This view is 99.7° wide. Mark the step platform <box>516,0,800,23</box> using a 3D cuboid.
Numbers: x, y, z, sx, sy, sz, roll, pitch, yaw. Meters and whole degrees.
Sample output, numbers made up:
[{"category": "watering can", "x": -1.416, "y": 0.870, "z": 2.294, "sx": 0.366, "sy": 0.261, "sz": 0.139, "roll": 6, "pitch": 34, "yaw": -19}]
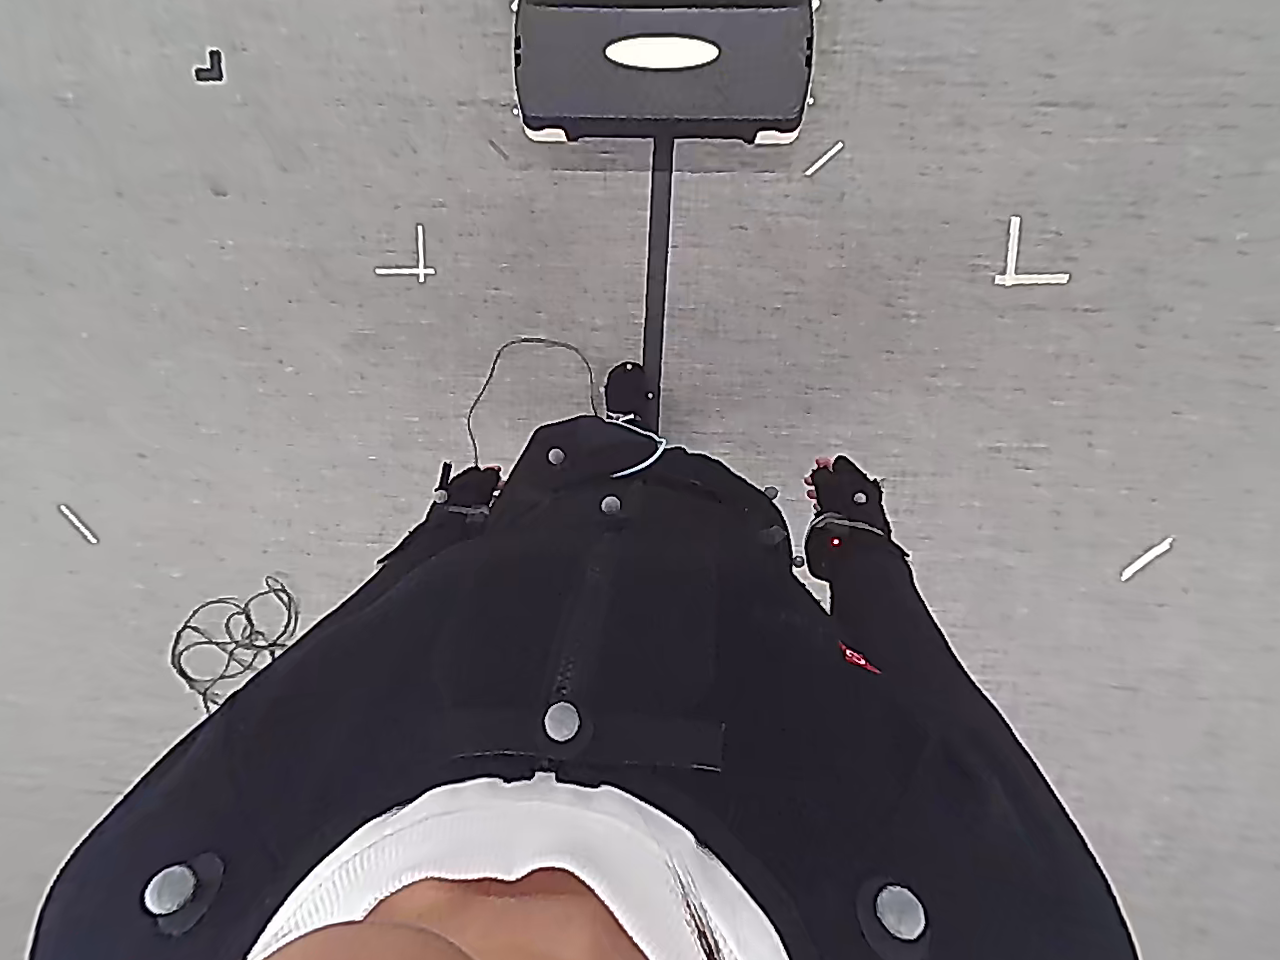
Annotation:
[{"category": "step platform", "x": 0.038, "y": -1.200, "z": 1.152, "sx": 0.684, "sy": 0.204, "sz": 0.286, "roll": 1, "pitch": 100, "yaw": 2}]
